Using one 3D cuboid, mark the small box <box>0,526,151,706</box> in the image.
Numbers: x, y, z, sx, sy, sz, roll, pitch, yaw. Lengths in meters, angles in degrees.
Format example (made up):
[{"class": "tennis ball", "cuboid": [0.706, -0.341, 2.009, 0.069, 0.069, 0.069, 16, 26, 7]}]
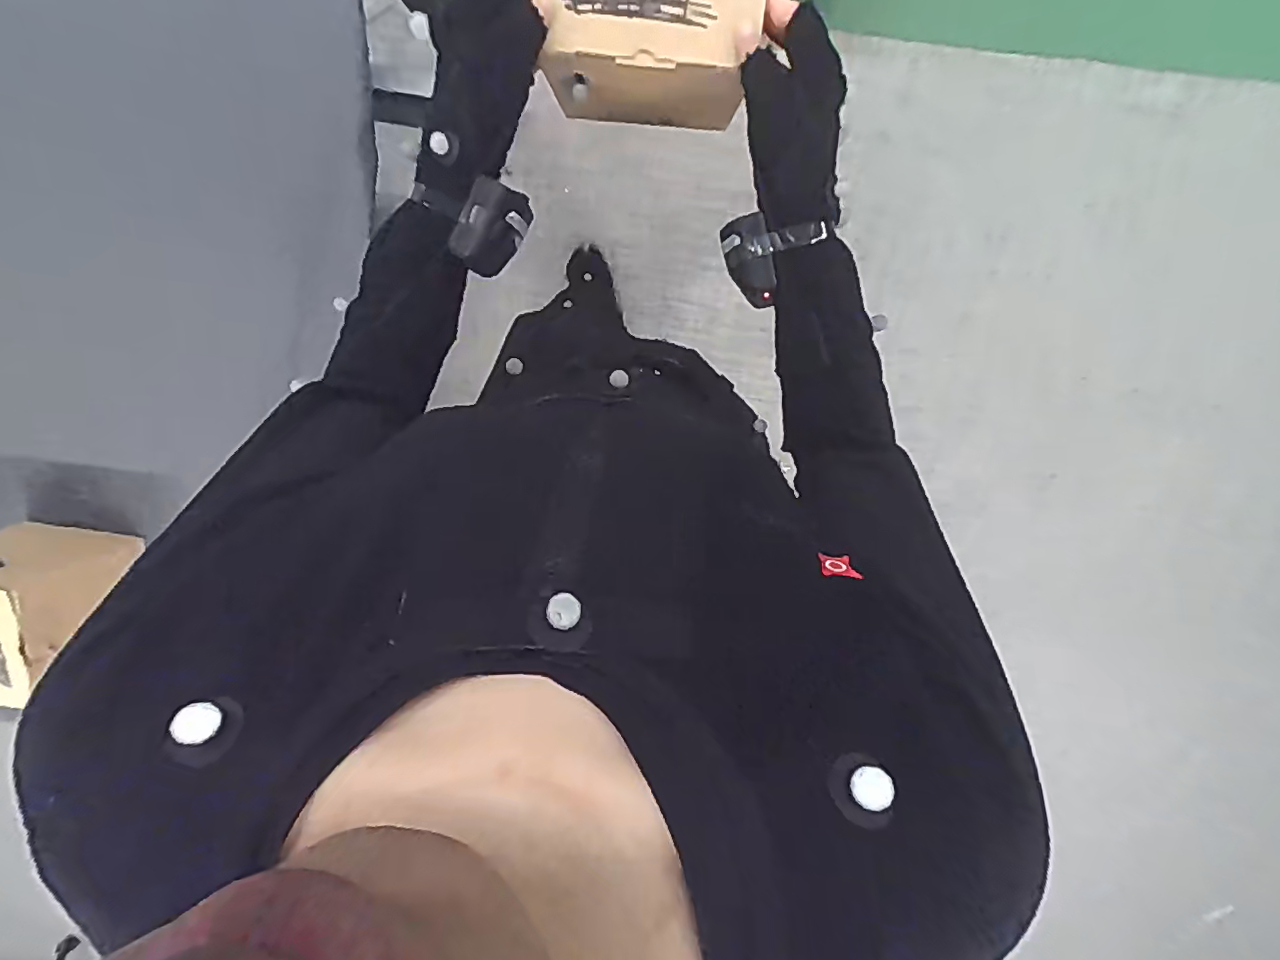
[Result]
[{"class": "small box", "cuboid": [-0.810, 0.172, 0.727, 0.179, 0.176, 0.168, 7, 105, 1]}]
